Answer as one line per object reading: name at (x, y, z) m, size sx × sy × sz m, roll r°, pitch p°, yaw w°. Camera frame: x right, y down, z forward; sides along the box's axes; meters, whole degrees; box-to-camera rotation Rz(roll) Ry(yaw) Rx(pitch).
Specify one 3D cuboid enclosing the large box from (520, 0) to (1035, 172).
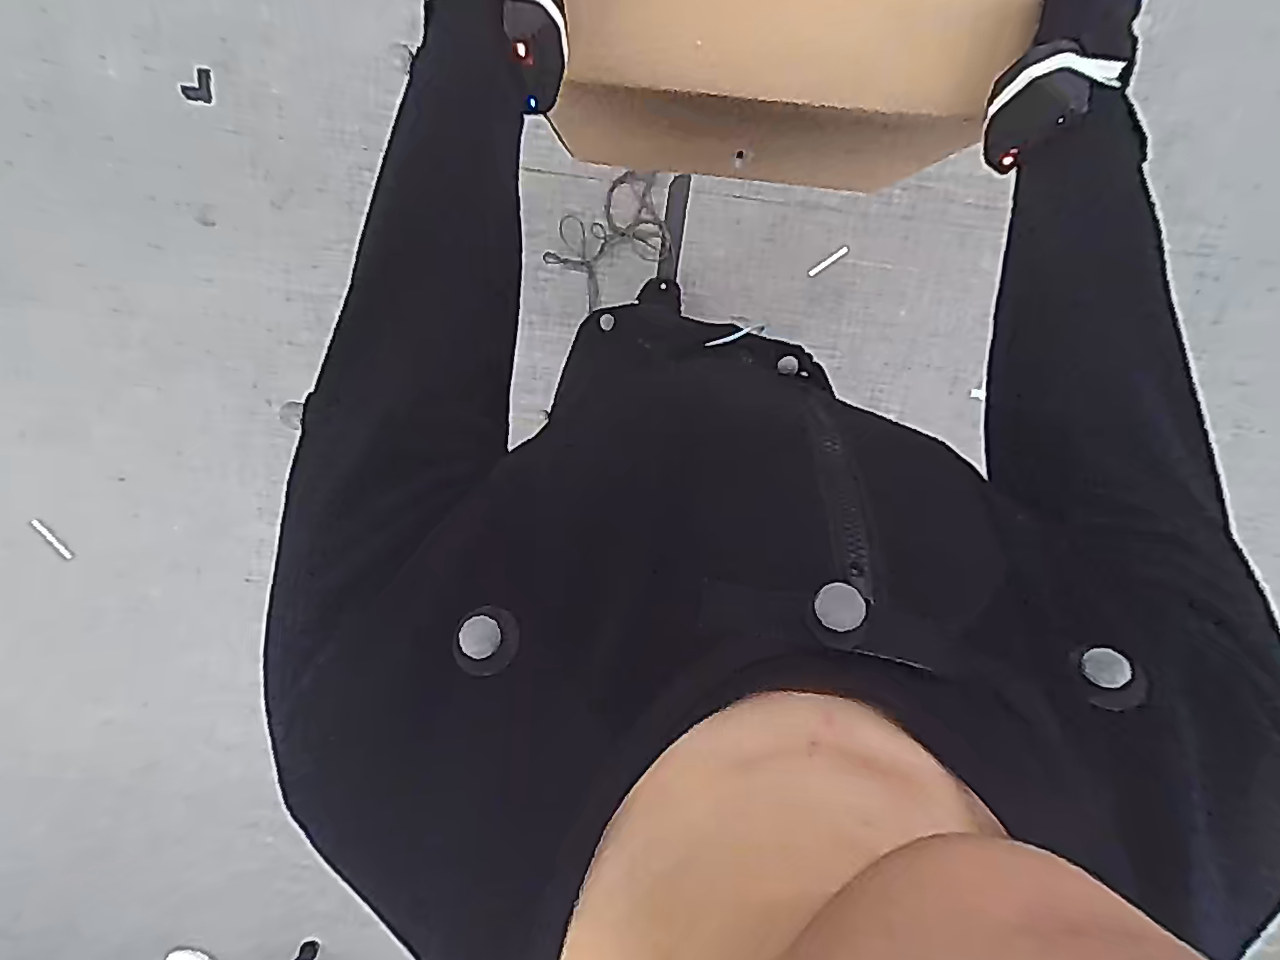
large box at (0.123, -0.516, 0.528) m, size 0.408 × 0.320 × 0.320 m, roll 7°, pitch 108°, yaw 1°
